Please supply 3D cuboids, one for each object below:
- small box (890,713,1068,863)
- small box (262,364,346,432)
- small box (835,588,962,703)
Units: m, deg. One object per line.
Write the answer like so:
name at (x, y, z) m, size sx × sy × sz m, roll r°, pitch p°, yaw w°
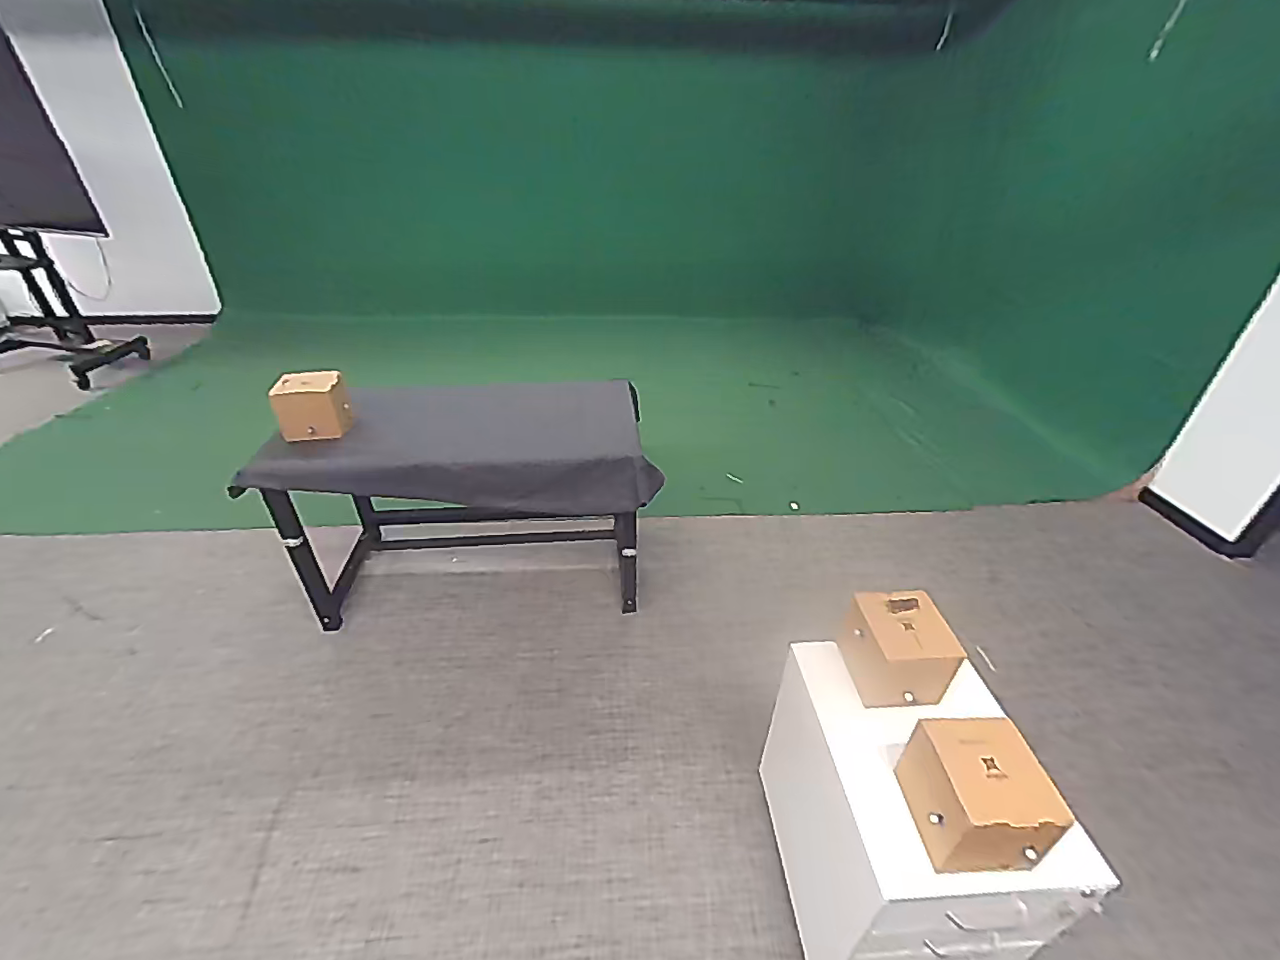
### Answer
small box at (0.559, 0.526, 0.921) m, size 0.168 × 0.176 × 0.179 m, roll 1°, pitch 33°, yaw -4°
small box at (-1.081, -0.266, 1.757) m, size 0.179 × 0.176 × 0.168 m, roll -4°, pitch 34°, yaw -12°
small box at (0.542, 0.354, 1.166) m, size 0.168 × 0.176 × 0.179 m, roll -1°, pitch 37°, yaw -4°
